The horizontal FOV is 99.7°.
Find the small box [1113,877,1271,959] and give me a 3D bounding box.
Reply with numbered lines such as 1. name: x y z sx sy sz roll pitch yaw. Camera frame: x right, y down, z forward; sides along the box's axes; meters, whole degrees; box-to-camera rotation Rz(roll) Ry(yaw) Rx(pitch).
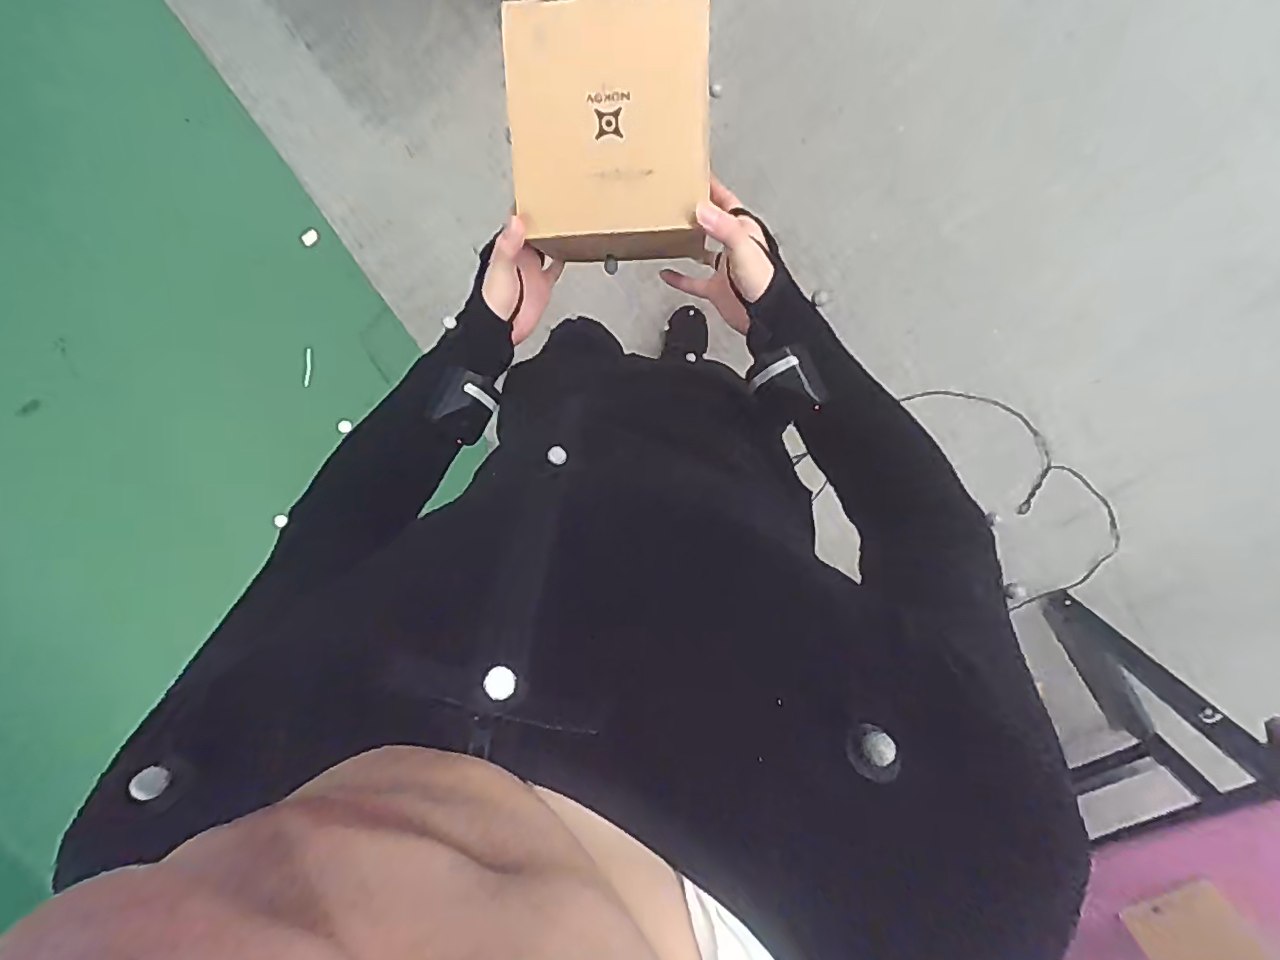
1. small box: 1.010 0.859 0.955 0.168 0.176 0.179 -38 100 15

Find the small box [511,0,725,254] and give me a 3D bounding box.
1. small box: -0.013 -0.317 0.502 0.168 0.176 0.179 0 105 4
